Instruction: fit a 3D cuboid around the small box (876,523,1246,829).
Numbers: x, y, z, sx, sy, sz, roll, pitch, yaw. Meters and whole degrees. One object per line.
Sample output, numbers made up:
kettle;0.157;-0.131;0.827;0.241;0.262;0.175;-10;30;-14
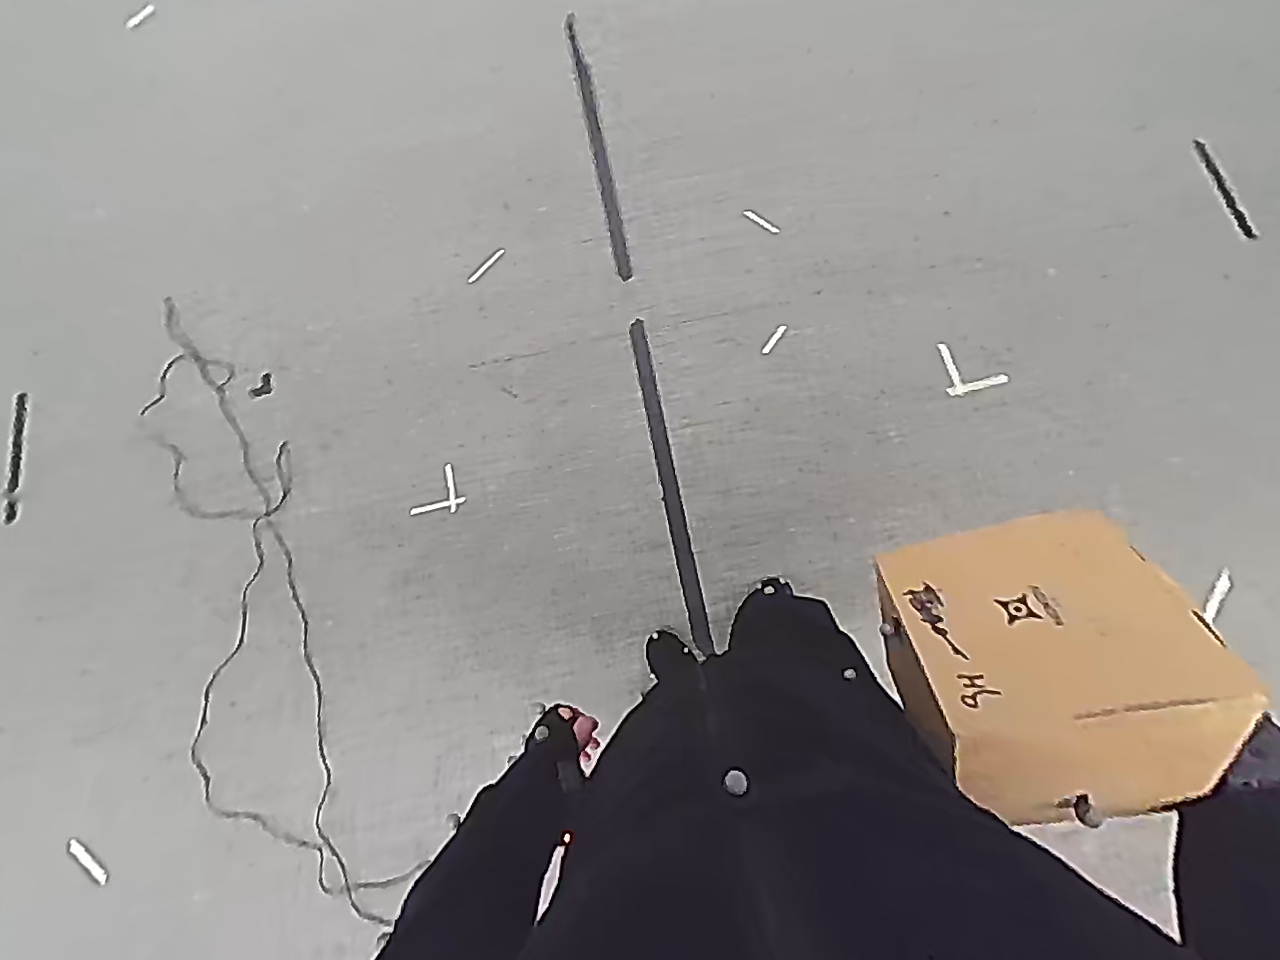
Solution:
small box;0.317;0.167;0.455;0.179;0.176;0.168;-15;35;12
